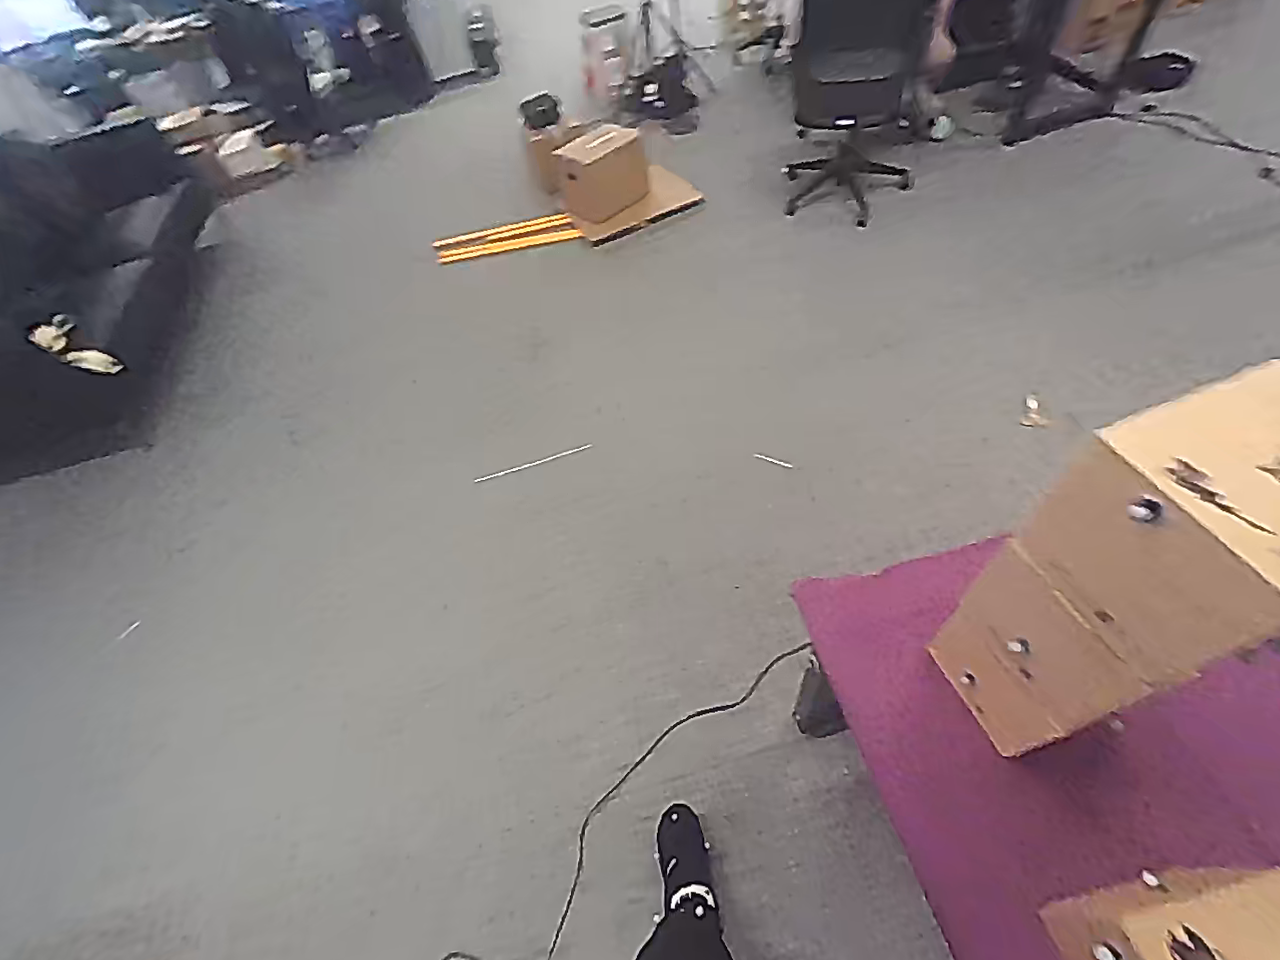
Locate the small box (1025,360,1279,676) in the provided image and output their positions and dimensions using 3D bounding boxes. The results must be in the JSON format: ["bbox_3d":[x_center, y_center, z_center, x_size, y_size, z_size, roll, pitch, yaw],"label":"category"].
[{"bbox_3d":[0.473,0.035,0.442,0.179,0.176,0.168,-20,53,-3],"label":"small box"}]

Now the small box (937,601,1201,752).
[{"bbox_3d":[0.528,0.229,0.702,0.179,0.176,0.168,-21,54,-3],"label":"small box"}]

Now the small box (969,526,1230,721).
[{"bbox_3d":[0.498,0.130,0.574,0.179,0.176,0.168,-22,53,-4],"label":"small box"}]
